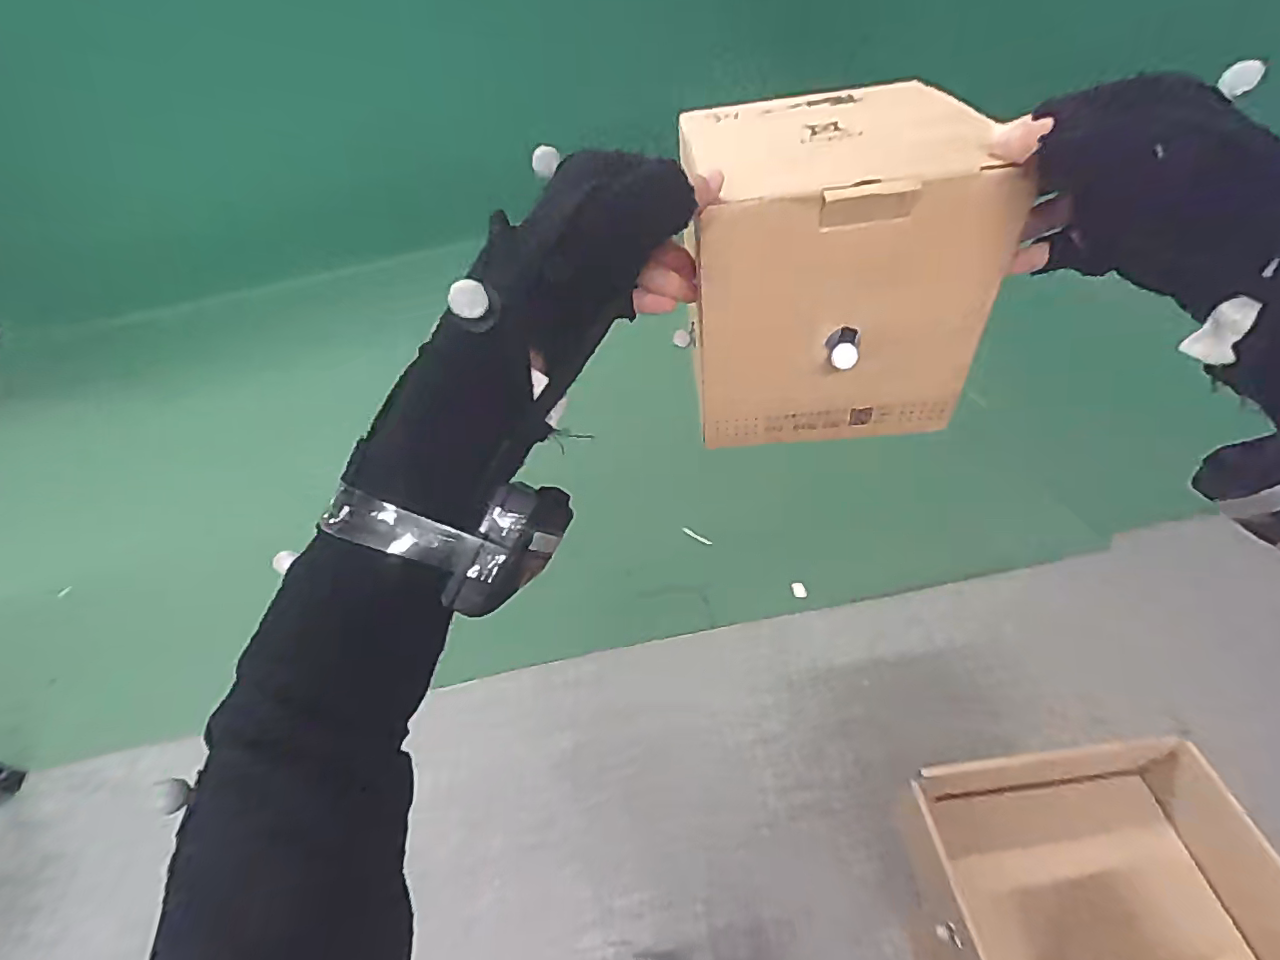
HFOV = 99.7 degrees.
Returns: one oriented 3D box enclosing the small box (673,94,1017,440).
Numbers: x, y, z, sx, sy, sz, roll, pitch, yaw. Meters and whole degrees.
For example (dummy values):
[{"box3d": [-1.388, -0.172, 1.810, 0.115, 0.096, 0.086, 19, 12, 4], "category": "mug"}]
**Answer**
[{"box3d": [0.113, -0.141, 0.381, 0.168, 0.176, 0.179, -4, 46, 5], "category": "small box"}]
